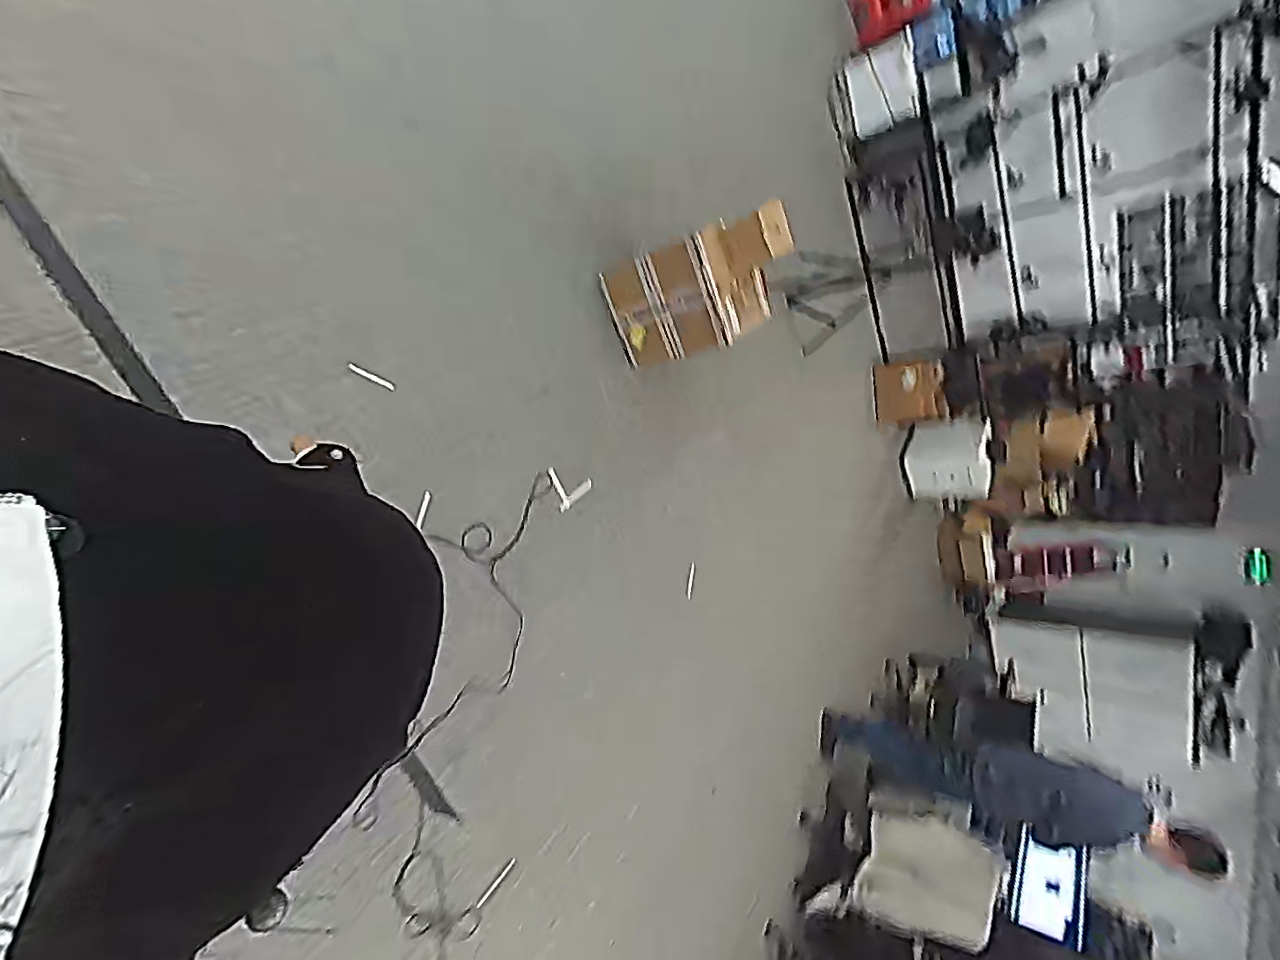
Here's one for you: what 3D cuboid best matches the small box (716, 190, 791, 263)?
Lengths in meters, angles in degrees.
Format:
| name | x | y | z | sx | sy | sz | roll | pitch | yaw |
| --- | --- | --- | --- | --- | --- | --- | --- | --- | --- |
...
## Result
| name | x | y | z | sx | sy | sz | roll | pitch | yaw |
| --- | --- | --- | --- | --- | --- | --- | --- | --- | --- |
| small box | 0.393 | -0.875 | 1.870 | 0.179 | 0.176 | 0.168 | -41 | 116 | -37 |
